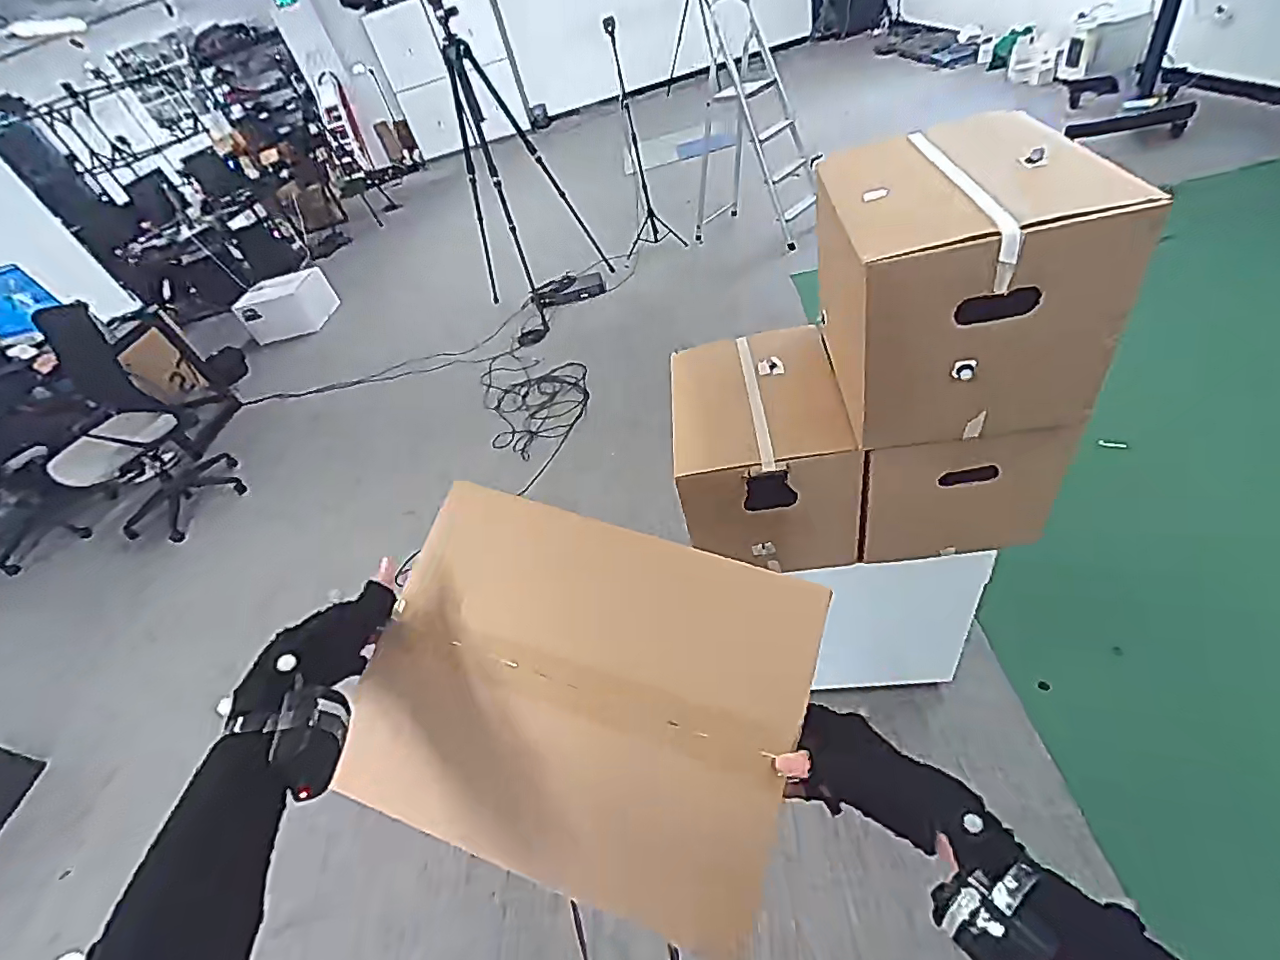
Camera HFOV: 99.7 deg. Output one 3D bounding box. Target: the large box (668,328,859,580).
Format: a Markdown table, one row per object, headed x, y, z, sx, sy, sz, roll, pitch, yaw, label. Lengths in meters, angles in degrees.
| x | y | z | sx | sy | sz | roll | pitch | yaw | label |
| --- | --- | --- | --- | --- | --- | --- | --- | --- | --- |
| 0.244 | -0.056 | 1.124 | 0.320 | 0.320 | 0.408 | -9 | 42 | 11 | large box |
